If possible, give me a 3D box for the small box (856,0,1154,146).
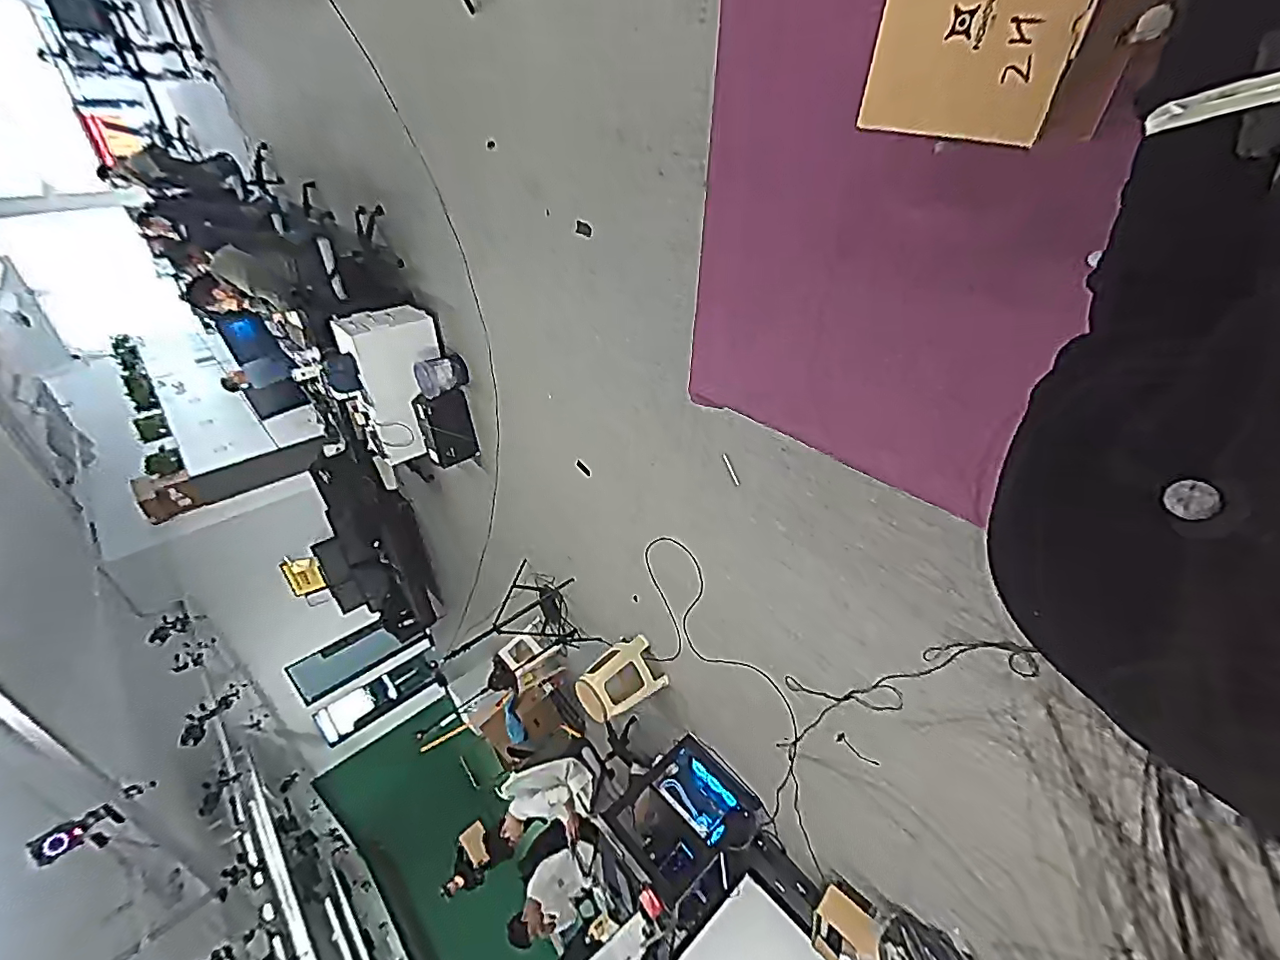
[{"bbox_3d":[0.346,-0.425,0.511,0.179,0.176,0.168,36,139,35],"label":"small box"}]
